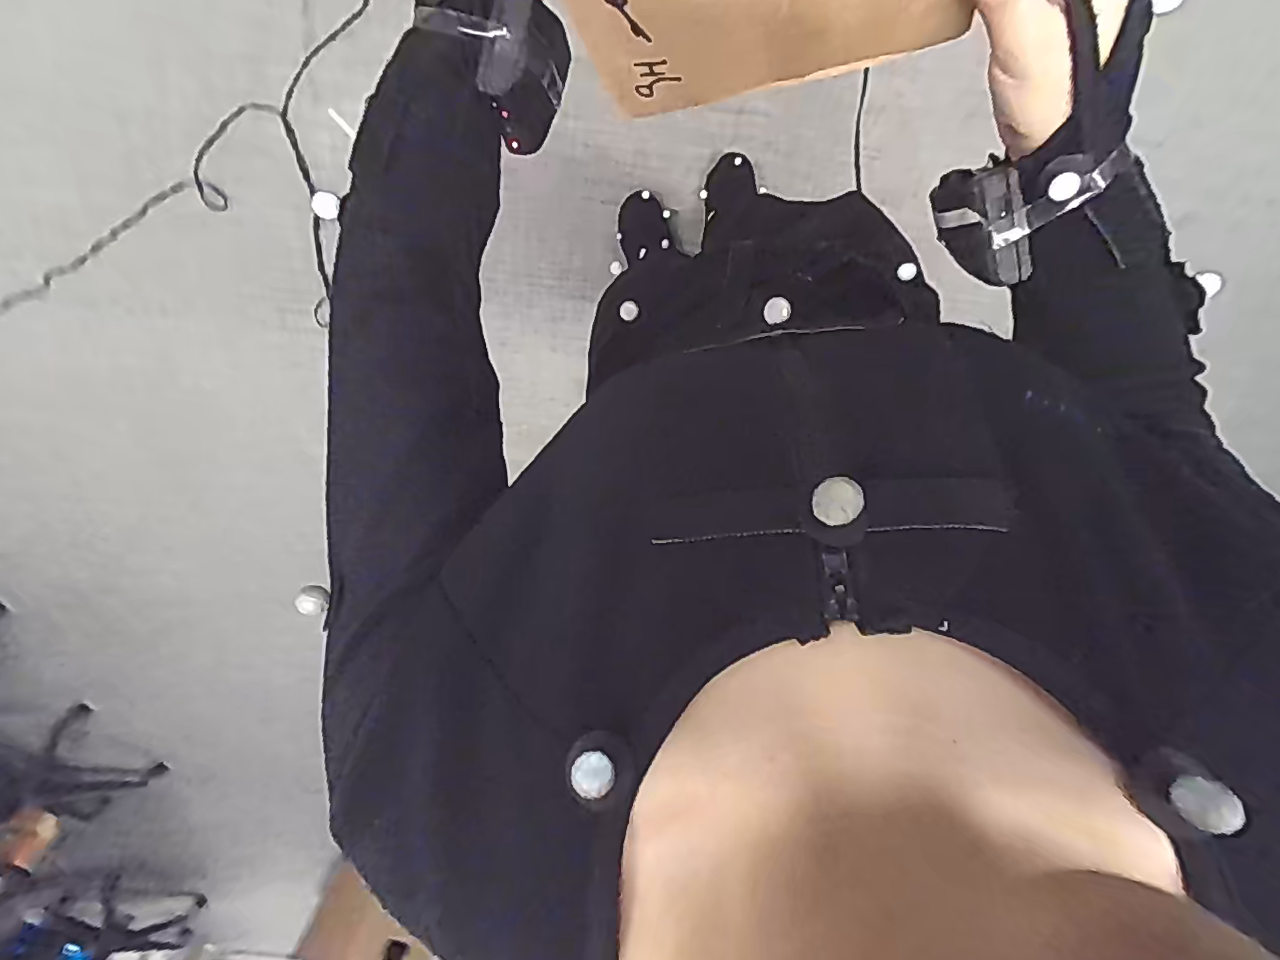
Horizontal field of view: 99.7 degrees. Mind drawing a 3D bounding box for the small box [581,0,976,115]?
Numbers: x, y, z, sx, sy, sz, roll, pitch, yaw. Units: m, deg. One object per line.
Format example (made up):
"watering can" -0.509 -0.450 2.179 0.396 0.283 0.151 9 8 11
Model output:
"small box" 0.051 -0.298 0.214 0.179 0.168 0.176 -3 88 16
